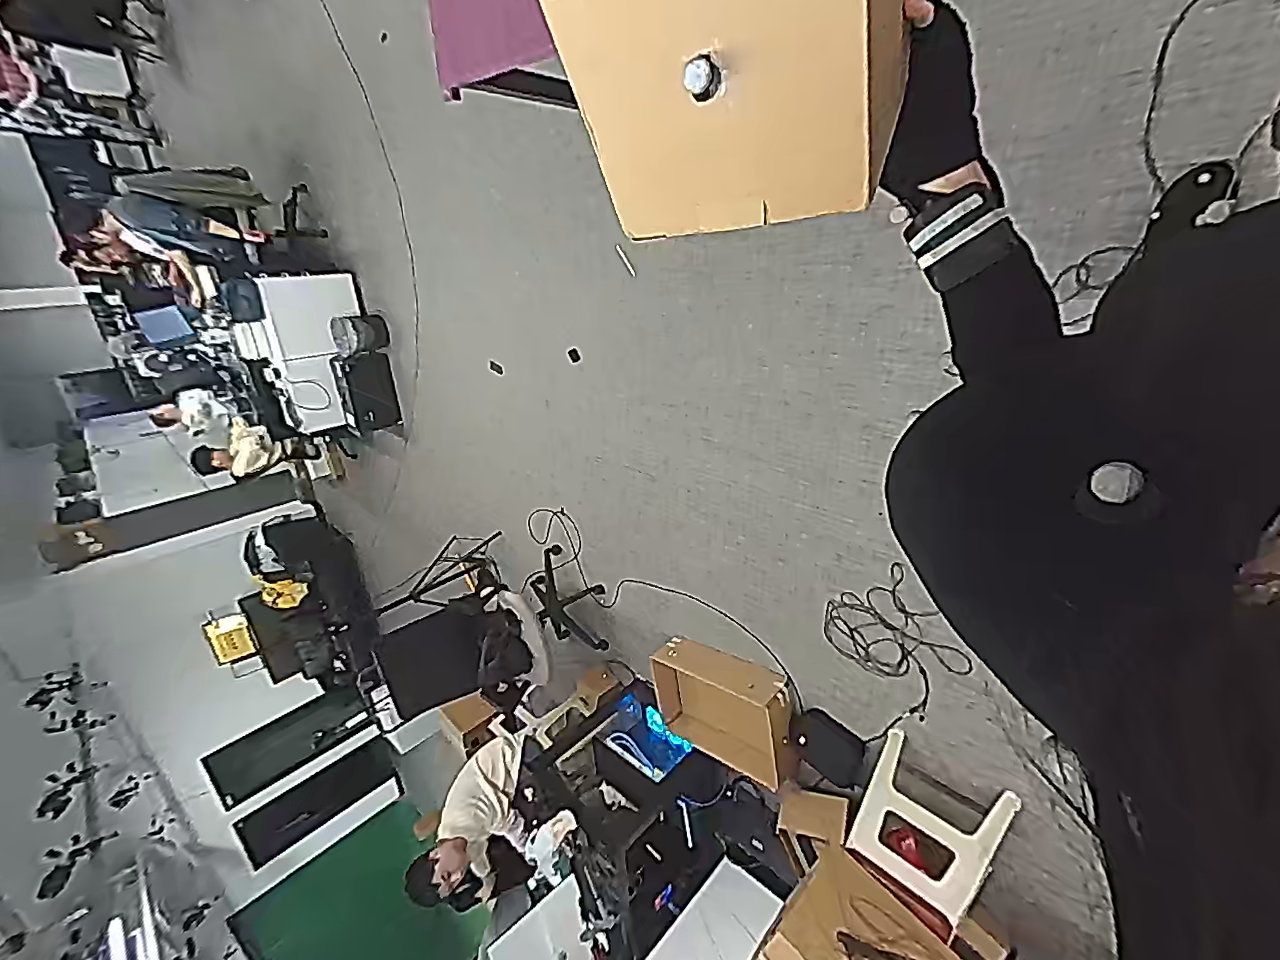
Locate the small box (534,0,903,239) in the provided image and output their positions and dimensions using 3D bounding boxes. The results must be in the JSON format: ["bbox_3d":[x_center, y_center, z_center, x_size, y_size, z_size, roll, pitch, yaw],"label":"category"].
[{"bbox_3d":[0.057,-0.277,0.322,0.168,0.179,0.176,8,146,29],"label":"small box"}]
